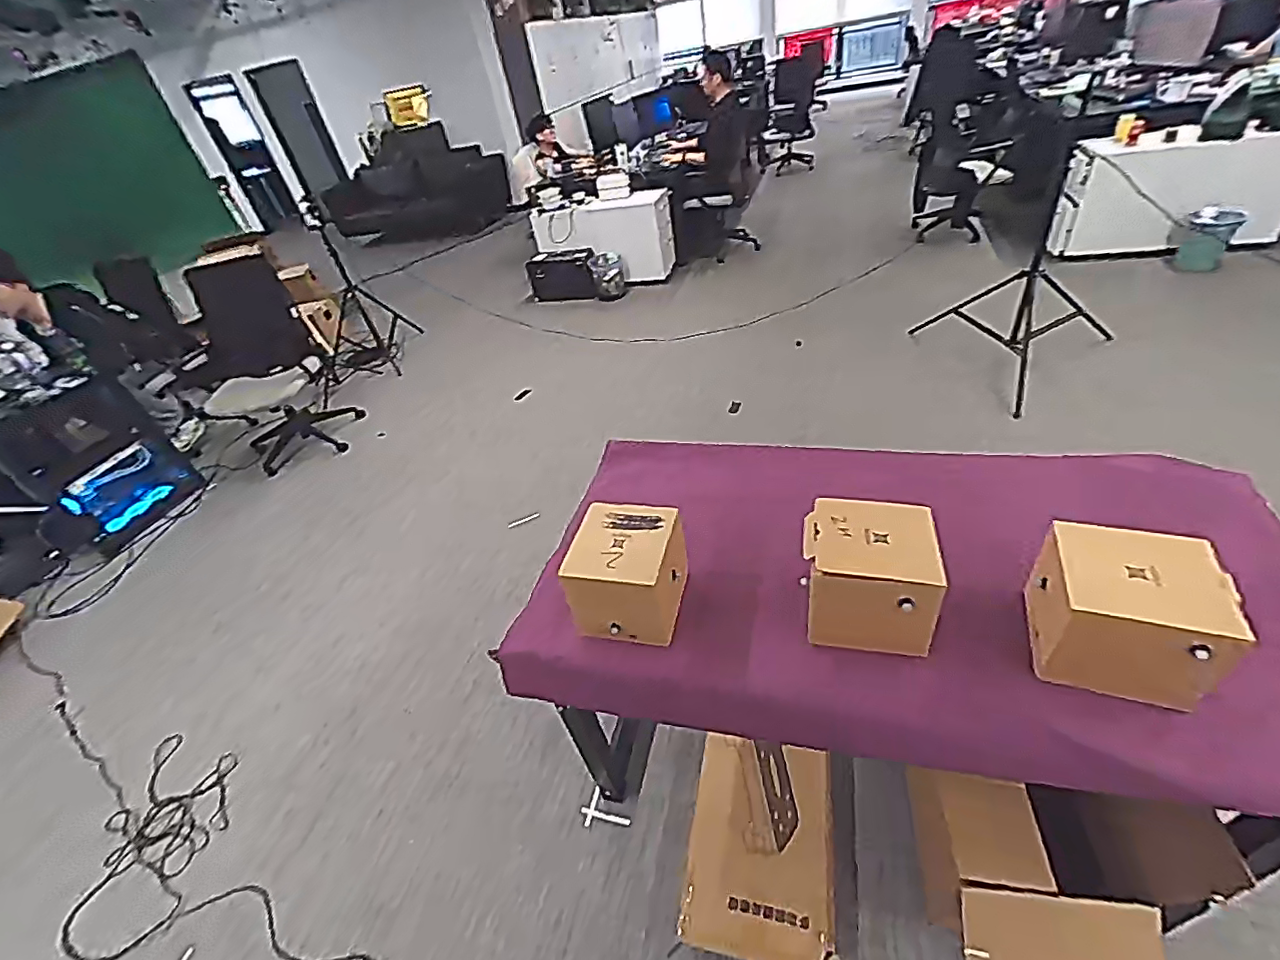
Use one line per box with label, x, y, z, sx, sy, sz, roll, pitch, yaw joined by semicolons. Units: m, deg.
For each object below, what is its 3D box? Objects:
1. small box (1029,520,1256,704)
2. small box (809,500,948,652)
small box;0.662;0.180;0.747;0.179;0.176;0.168;8;43;23
small box;0.365;0.151;0.858;0.179;0.176;0.168;2;39;17
